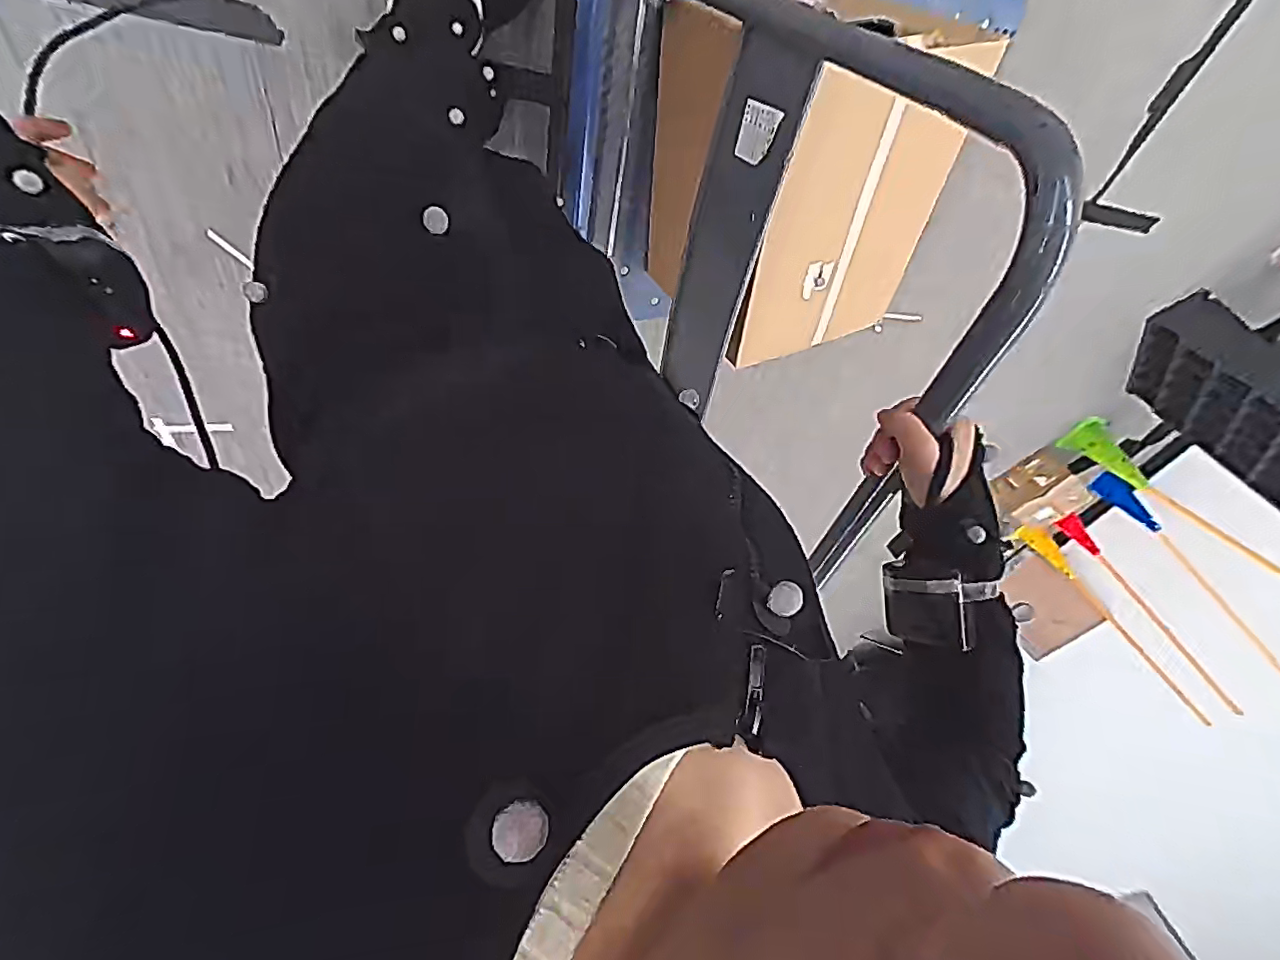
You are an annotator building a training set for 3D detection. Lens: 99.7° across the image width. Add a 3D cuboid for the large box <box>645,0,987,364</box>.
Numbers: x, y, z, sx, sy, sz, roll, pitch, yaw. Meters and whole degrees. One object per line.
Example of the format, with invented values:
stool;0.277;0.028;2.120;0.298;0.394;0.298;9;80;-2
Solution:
large box;0.215;-0.465;0.841;0.320;0.320;0.408;-20;145;-18
